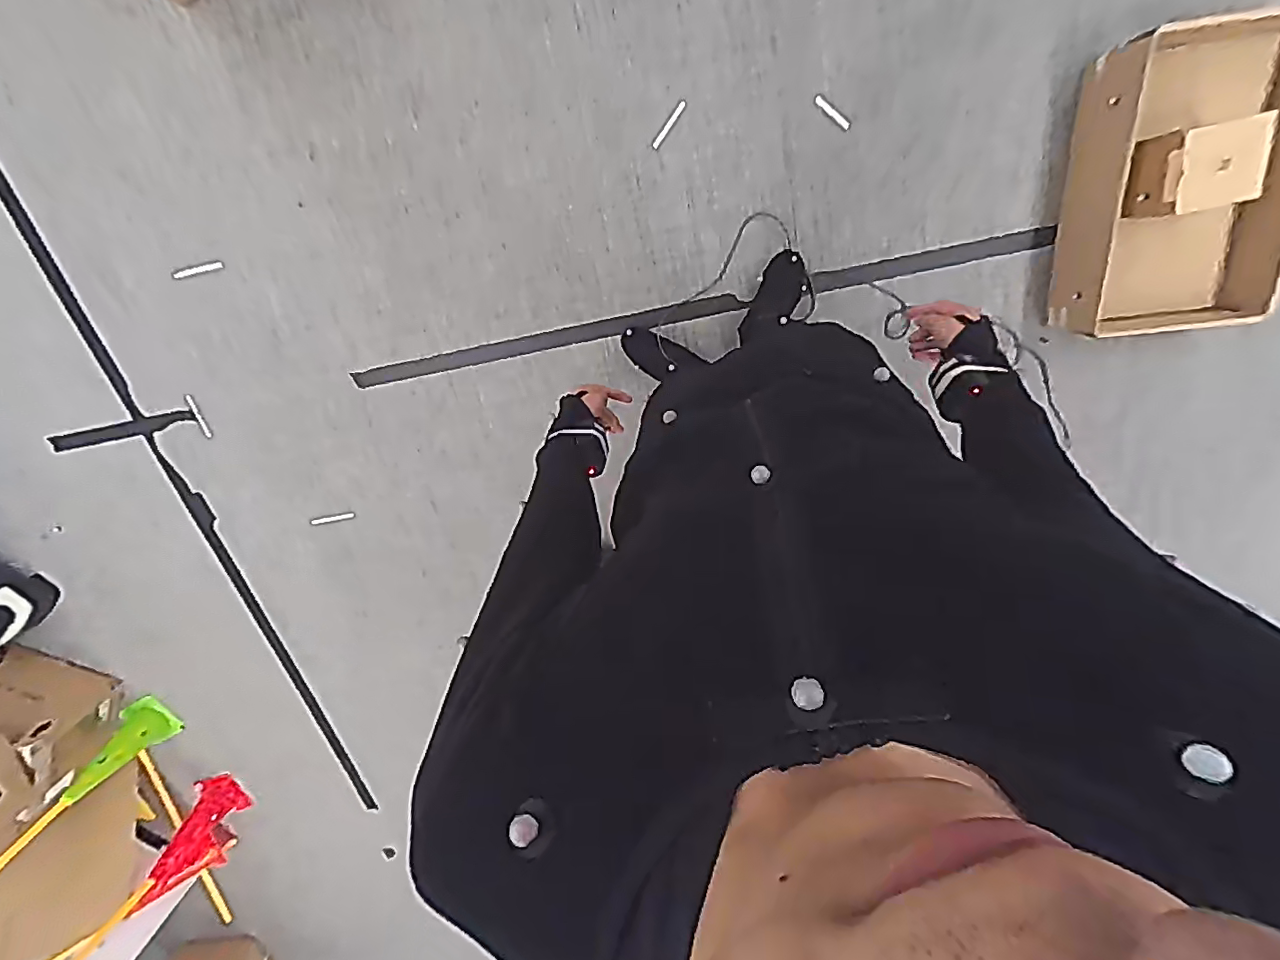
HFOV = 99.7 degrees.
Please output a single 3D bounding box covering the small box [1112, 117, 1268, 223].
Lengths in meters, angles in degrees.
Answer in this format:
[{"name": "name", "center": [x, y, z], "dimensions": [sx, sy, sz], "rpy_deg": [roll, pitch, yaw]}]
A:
[{"name": "small box", "center": [1.226, -0.689, 1.223], "dimensions": [0.179, 0.176, 0.168], "rpy_deg": [-10, 113, 7]}]
